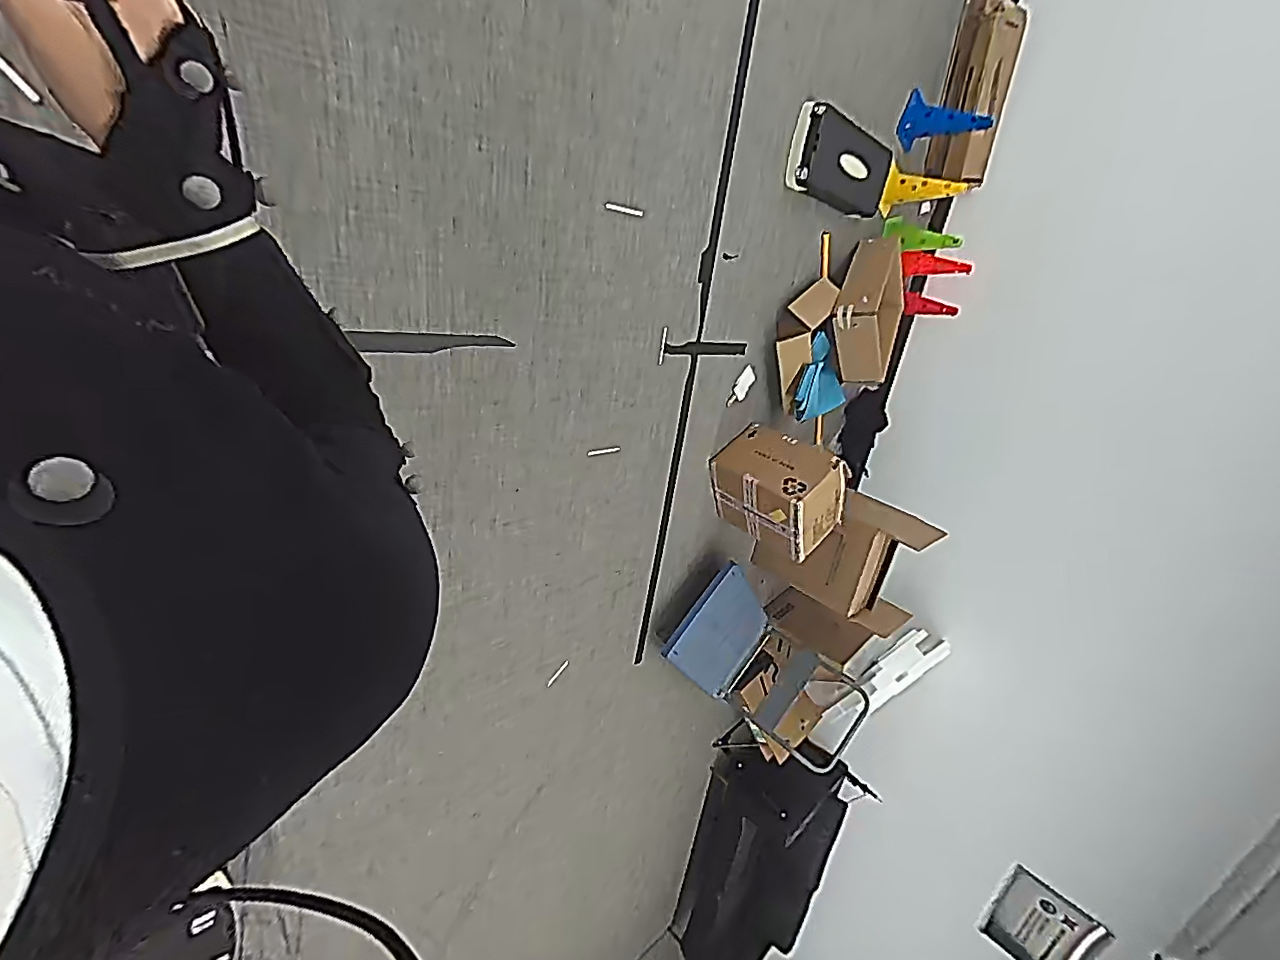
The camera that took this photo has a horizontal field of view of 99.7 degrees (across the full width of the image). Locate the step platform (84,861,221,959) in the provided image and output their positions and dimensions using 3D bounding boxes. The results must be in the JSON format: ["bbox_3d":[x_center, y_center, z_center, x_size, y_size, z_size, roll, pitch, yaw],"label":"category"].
[{"bbox_3d":[-1.404,1.242,1.251,0.684,0.204,0.286,-14,122,-44],"label":"step platform"}]
